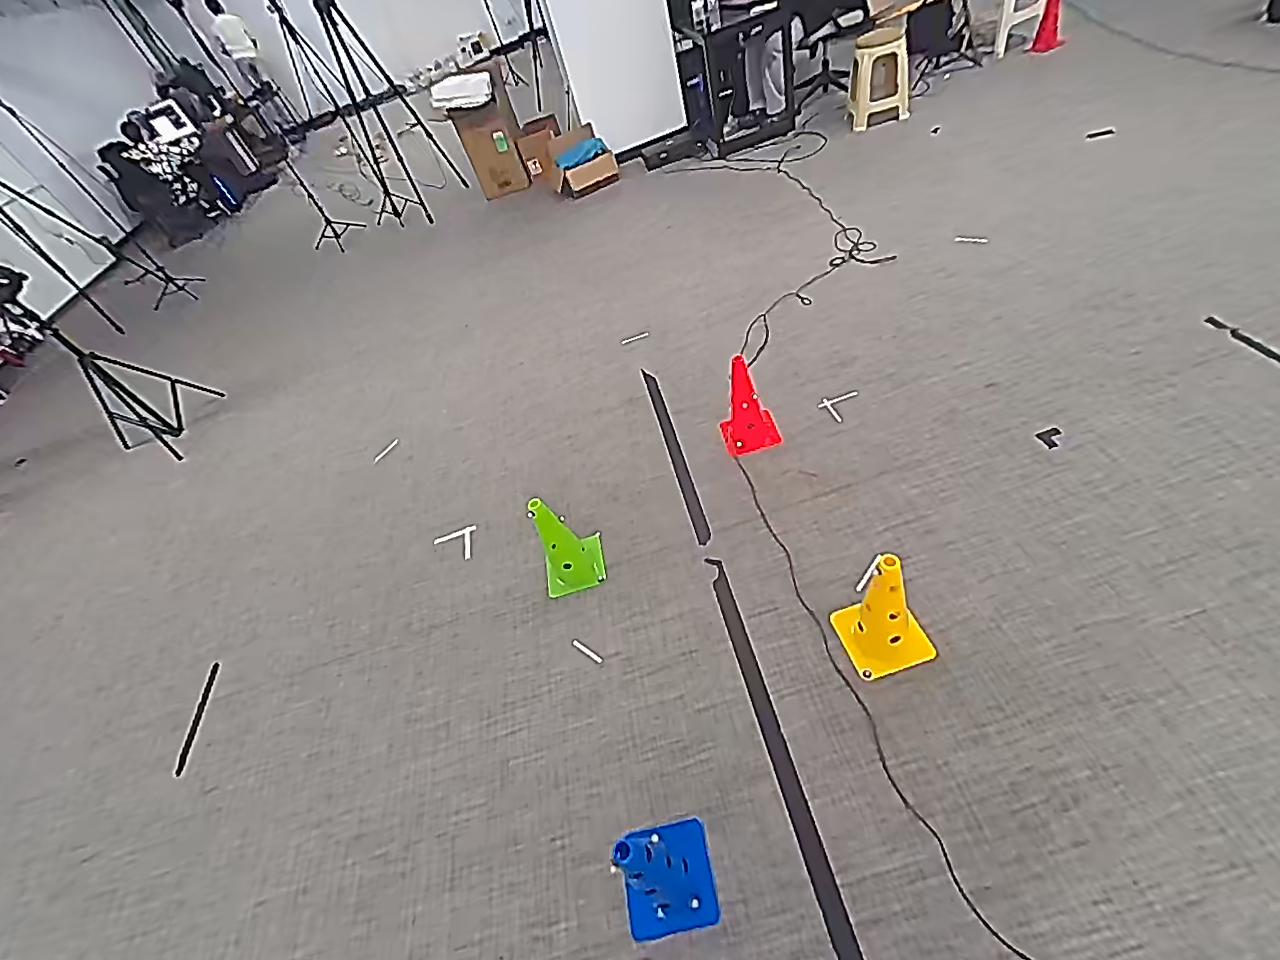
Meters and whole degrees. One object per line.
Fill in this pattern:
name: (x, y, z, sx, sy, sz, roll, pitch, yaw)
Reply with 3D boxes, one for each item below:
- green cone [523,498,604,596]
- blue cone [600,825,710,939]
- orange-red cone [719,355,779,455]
green cone: (-0.273, 0.177, 1.722, 0.202, 0.368, 0.200, -19, 46, 4)
blue cone: (0.007, 0.783, 1.090, 0.192, 0.380, 0.193, -17, 46, 7)
orange-red cone: (0.366, -0.289, 1.914, 0.199, 0.360, 0.198, -14, 47, 6)
